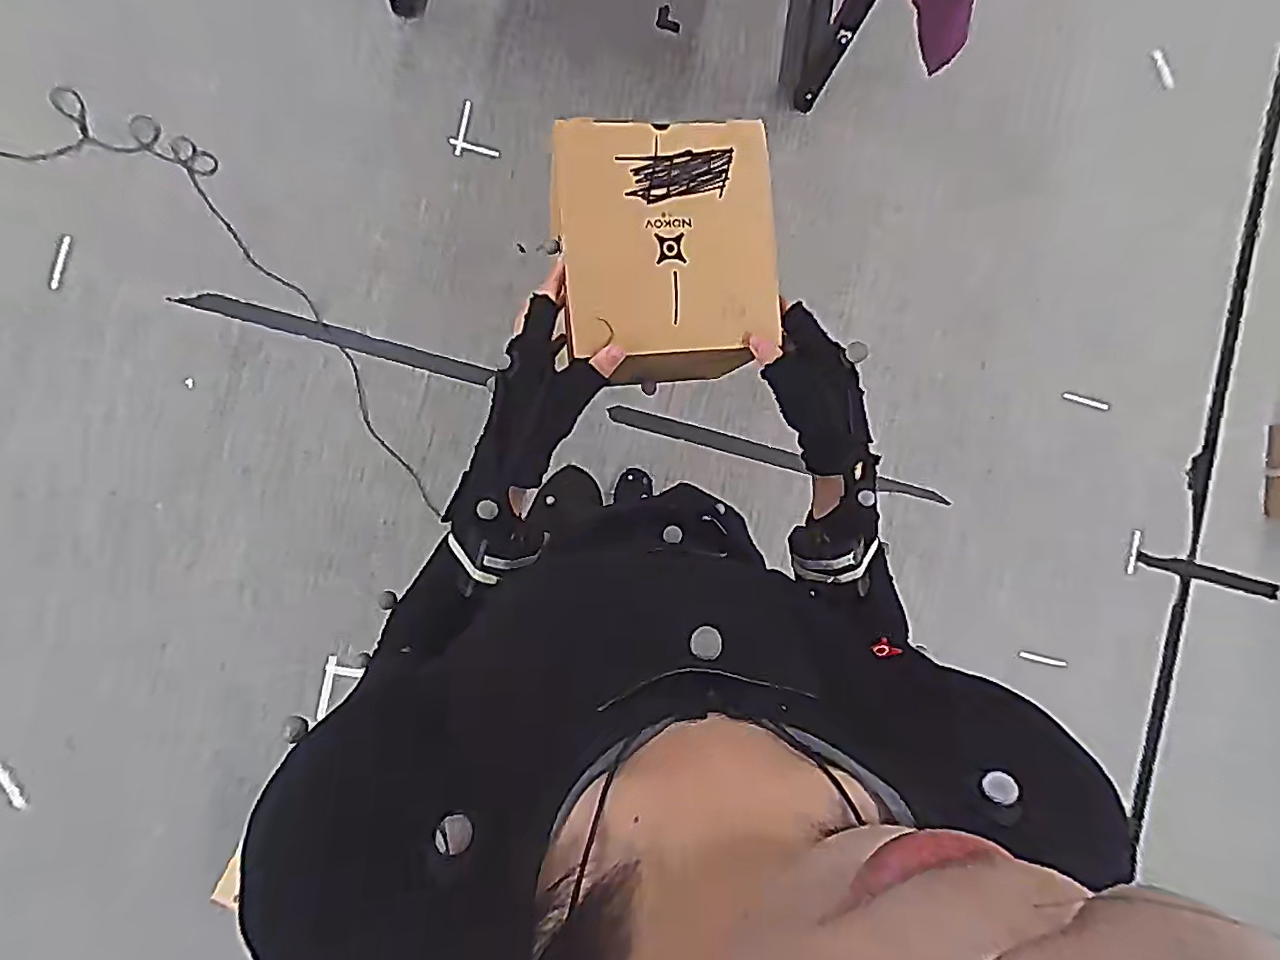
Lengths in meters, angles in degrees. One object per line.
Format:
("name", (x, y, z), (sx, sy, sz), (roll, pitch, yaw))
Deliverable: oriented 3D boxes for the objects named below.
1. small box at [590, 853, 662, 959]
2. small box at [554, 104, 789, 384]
("small box", (-0.042, 1.120, 1.425), (0.179, 0.176, 0.168), (2, 91, -7))
("small box", (0.014, -0.189, 0.477), (0.168, 0.176, 0.179), (-6, 92, -8))
